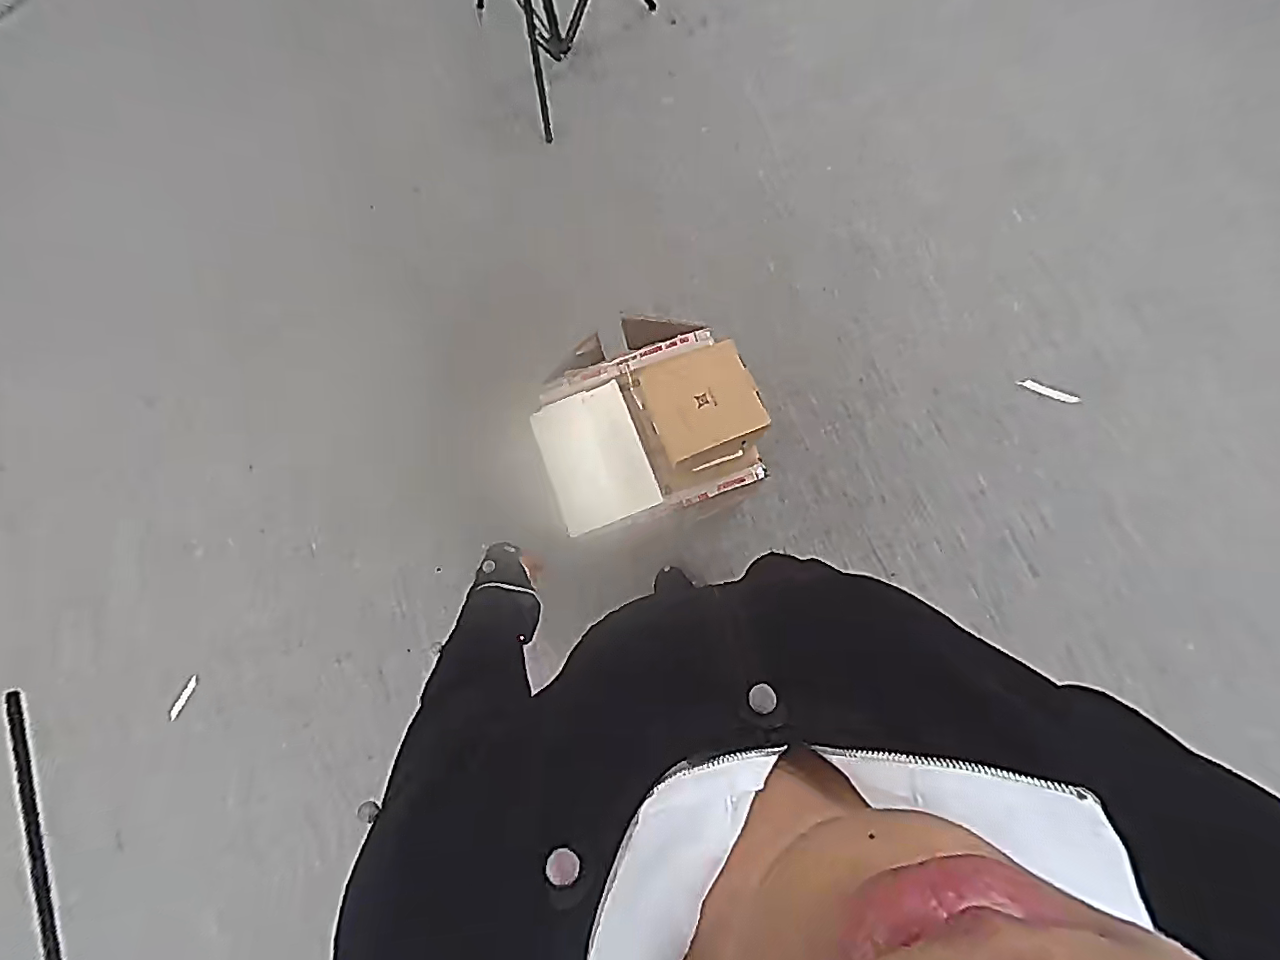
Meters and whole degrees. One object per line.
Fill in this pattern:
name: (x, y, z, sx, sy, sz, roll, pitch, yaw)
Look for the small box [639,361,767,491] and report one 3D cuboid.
small box: (0.109, -0.092, 1.002, 0.179, 0.176, 0.168, -24, 81, 0)
